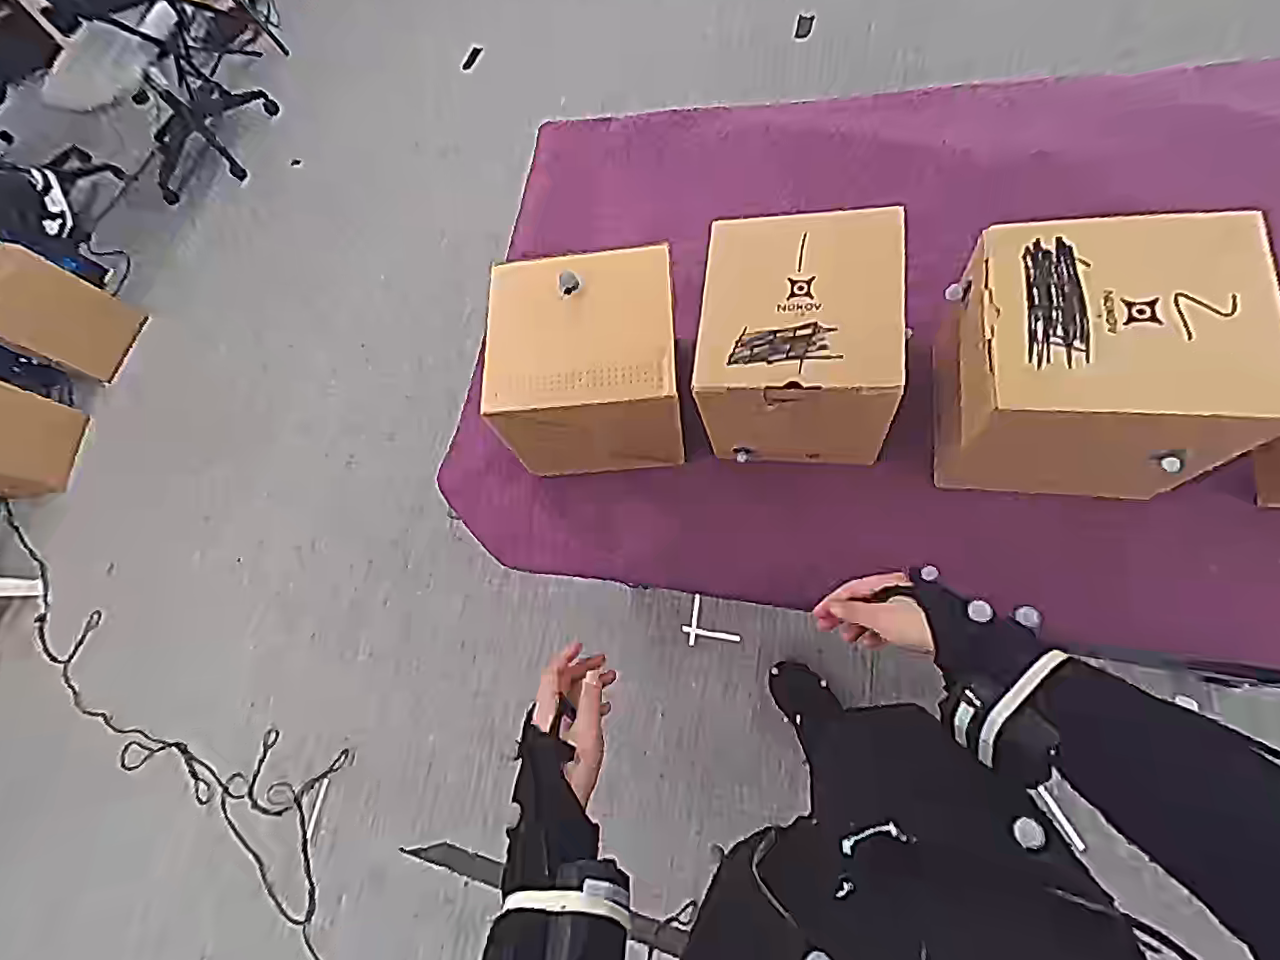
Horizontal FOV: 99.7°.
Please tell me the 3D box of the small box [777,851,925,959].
[{"bbox_3d":[0.354,0.766,0.925,0.179,0.176,0.168,-30,49,-3],"label":"small box"}]
